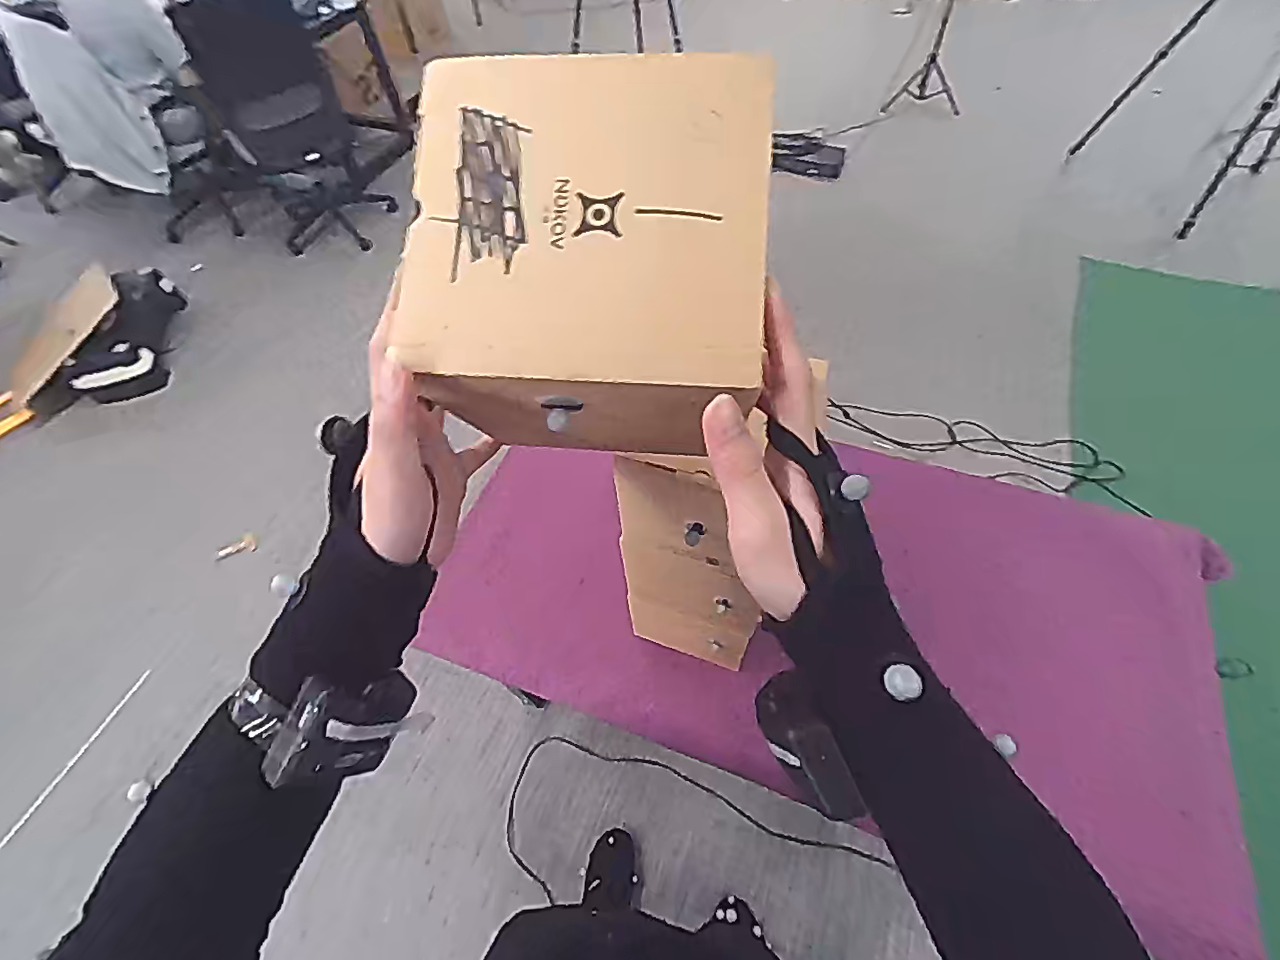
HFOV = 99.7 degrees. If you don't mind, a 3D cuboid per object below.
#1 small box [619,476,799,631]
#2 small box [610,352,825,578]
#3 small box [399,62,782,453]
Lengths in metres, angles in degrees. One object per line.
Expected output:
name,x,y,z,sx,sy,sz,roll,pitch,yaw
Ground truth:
small box,0.089,0.077,0.703,0.179,0.176,0.168,16,58,15
small box,0.082,-0.020,0.572,0.168,0.176,0.179,15,58,13
small box,-0.016,-0.116,0.340,0.179,0.176,0.168,4,82,6
